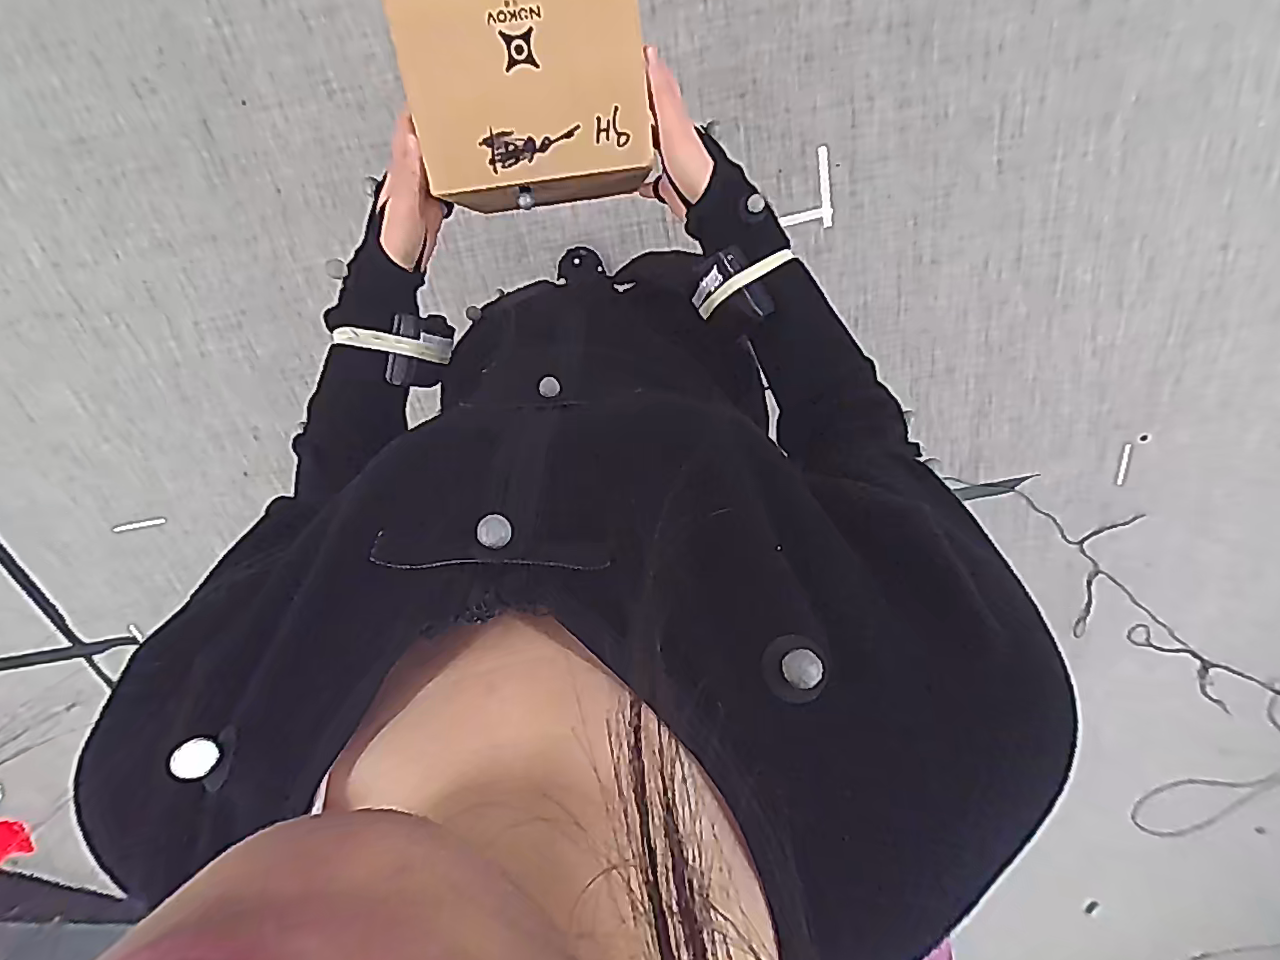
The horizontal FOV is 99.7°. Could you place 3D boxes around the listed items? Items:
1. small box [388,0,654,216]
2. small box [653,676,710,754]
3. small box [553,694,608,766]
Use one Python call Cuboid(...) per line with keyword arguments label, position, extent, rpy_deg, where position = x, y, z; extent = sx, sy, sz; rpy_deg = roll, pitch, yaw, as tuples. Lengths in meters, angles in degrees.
Cuboid(label="small box", position=(-0.086, -0.323, 0.433), extent=(0.168, 0.176, 0.179), rpy_deg=(-8, 112, -1))
Cuboid(label="small box", position=(0.144, 0.822, 1.898), extent=(0.168, 0.176, 0.179), rpy_deg=(-12, 115, 1))
Cuboid(label="small box", position=(-0.209, 0.875, 1.901), extent=(0.179, 0.176, 0.168), rpy_deg=(4, 115, -7))
